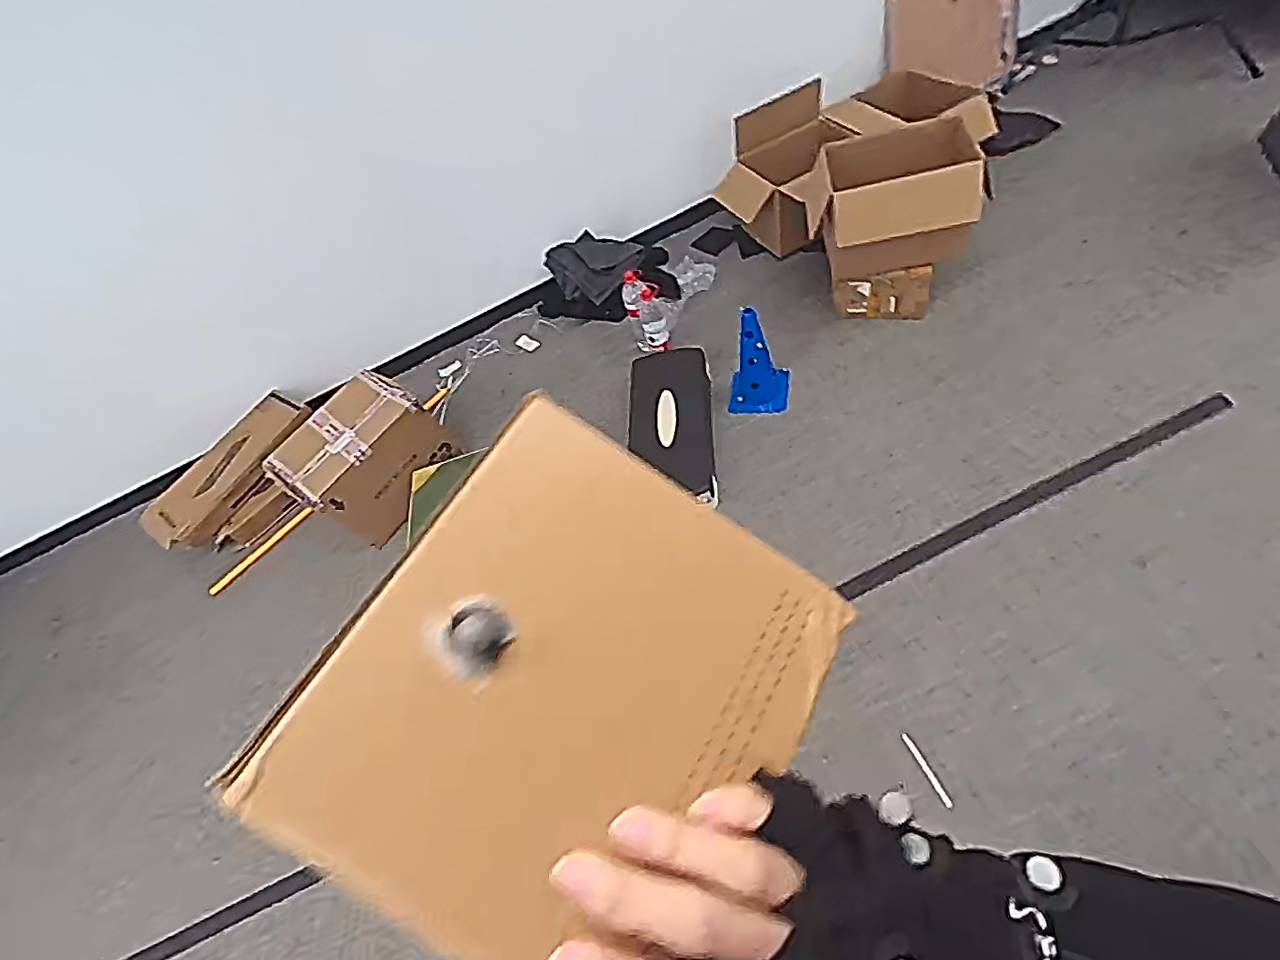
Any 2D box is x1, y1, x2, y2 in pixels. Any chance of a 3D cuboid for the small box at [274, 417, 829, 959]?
[{"bbox_3d":[-0.031,0.105,0.289,0.176,0.168,0.179,34,68,0],"label":"small box"}]
